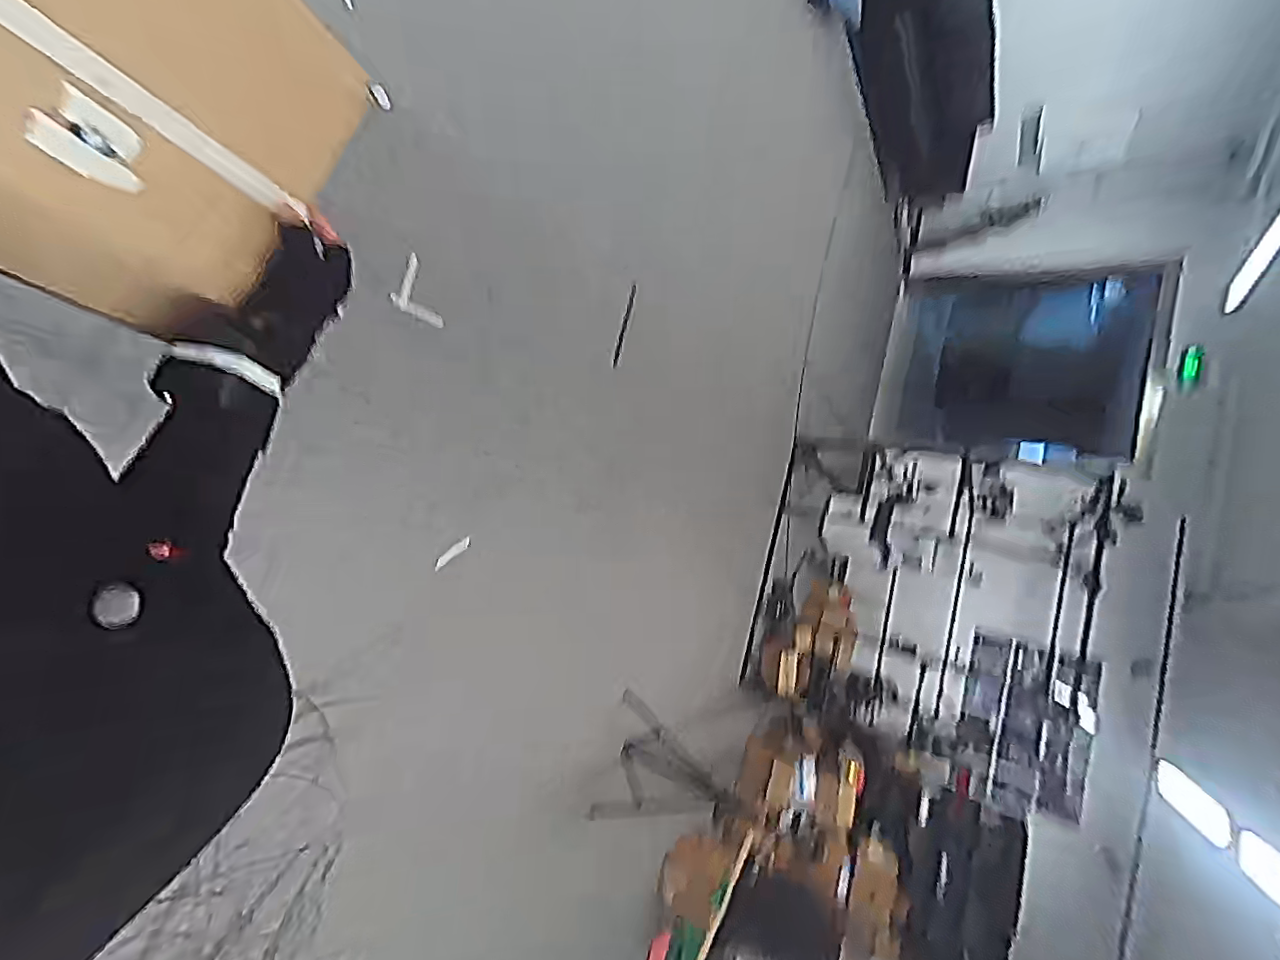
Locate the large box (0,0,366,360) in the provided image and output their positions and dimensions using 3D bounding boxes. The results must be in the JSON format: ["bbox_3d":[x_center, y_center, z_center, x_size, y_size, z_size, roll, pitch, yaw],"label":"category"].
[{"bbox_3d":[-0.541,-0.349,0.436,0.408,0.320,0.320,35,79,-57],"label":"large box"}]
